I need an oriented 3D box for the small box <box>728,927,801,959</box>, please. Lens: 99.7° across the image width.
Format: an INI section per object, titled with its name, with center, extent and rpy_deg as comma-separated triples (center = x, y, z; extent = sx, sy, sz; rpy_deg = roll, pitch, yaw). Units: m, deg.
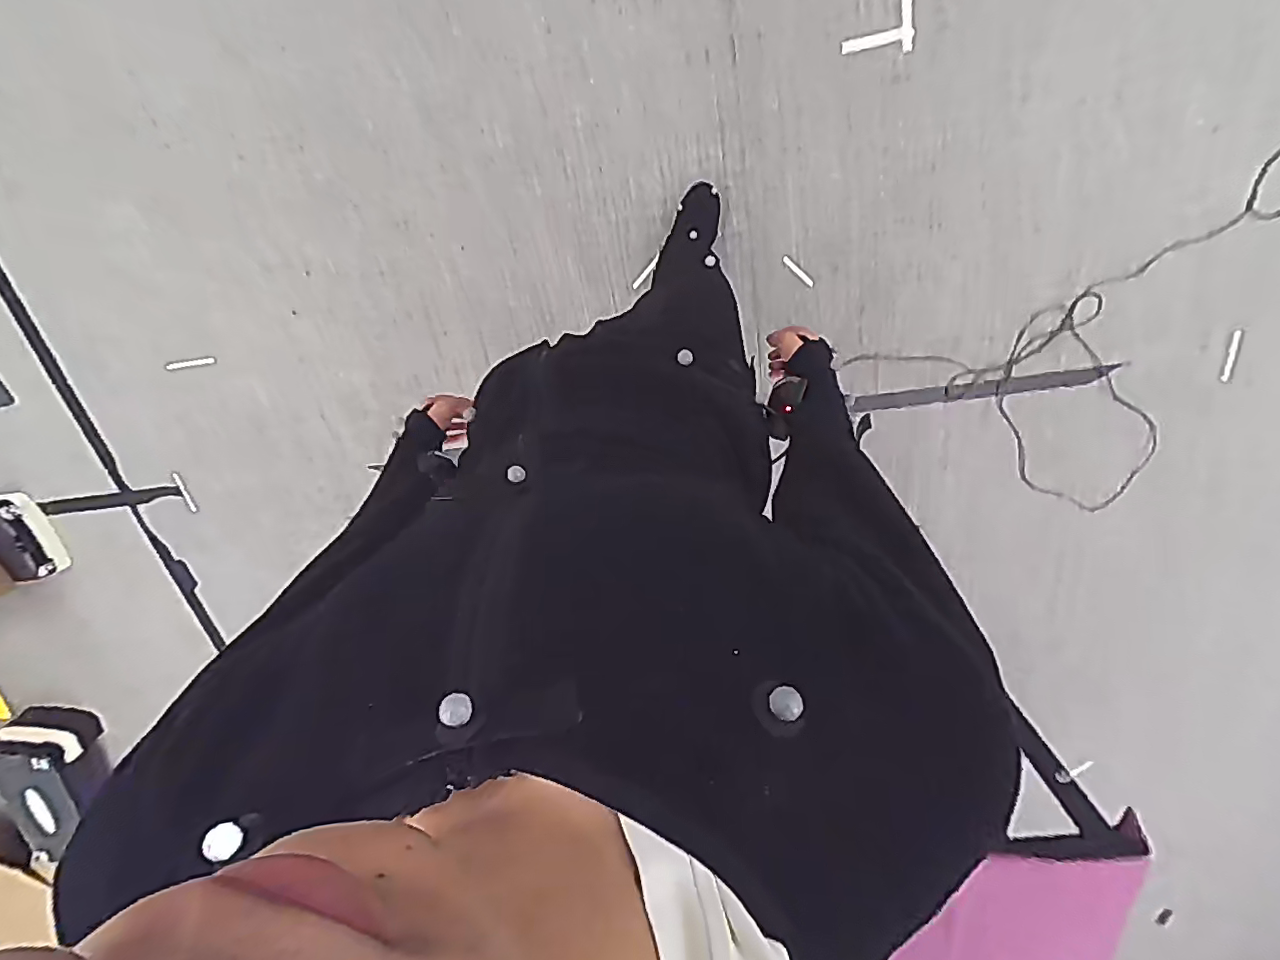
[small box]
center = 0.312, 1.229, 1.311
extent = 0.179, 0.176, 0.168
rpy_deg = -10, 113, 7
